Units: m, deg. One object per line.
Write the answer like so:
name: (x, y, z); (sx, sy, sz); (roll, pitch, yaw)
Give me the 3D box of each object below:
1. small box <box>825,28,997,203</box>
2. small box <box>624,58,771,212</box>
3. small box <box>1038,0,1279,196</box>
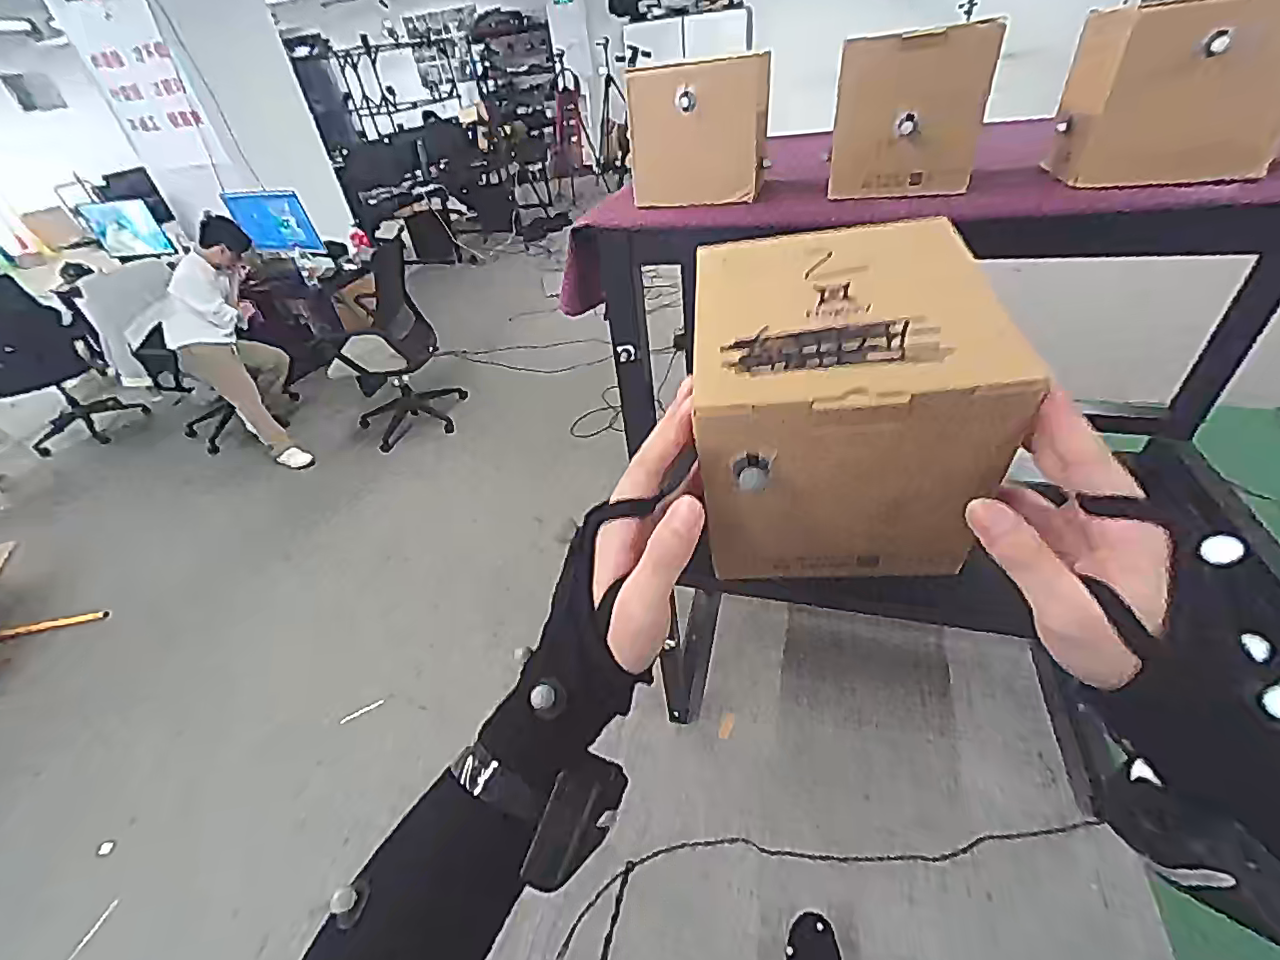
small box: (0.340, -0.473, 0.712); (0.168, 0.176, 0.179); (6, 39, 16)
small box: (0.091, -0.498, 0.786); (0.179, 0.176, 0.168); (6, 40, 15)
small box: (0.609, -0.443, 0.632); (0.179, 0.176, 0.168); (5, 38, 18)
